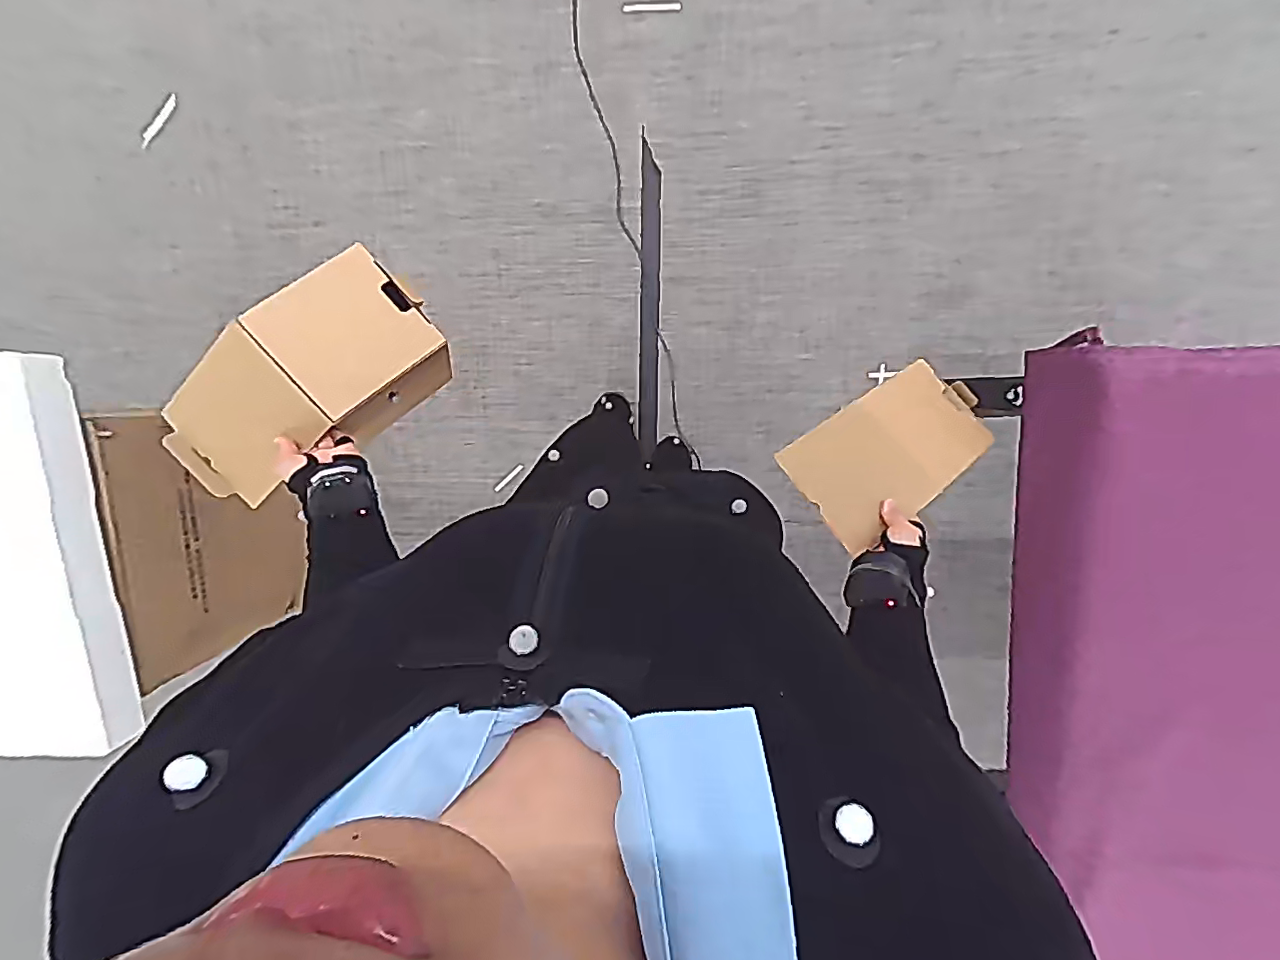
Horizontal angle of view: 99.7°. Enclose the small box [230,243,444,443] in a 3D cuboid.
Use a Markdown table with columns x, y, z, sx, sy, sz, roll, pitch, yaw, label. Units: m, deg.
| x | y | z | sx | sy | sz | roll | pitch | yaw | label |
| --- | --- | --- | --- | --- | --- | --- | --- | --- | --- |
| -0.387 | -0.171 | 0.733 | 0.179 | 0.176 | 0.168 | -43 | 97 | -18 | small box |
